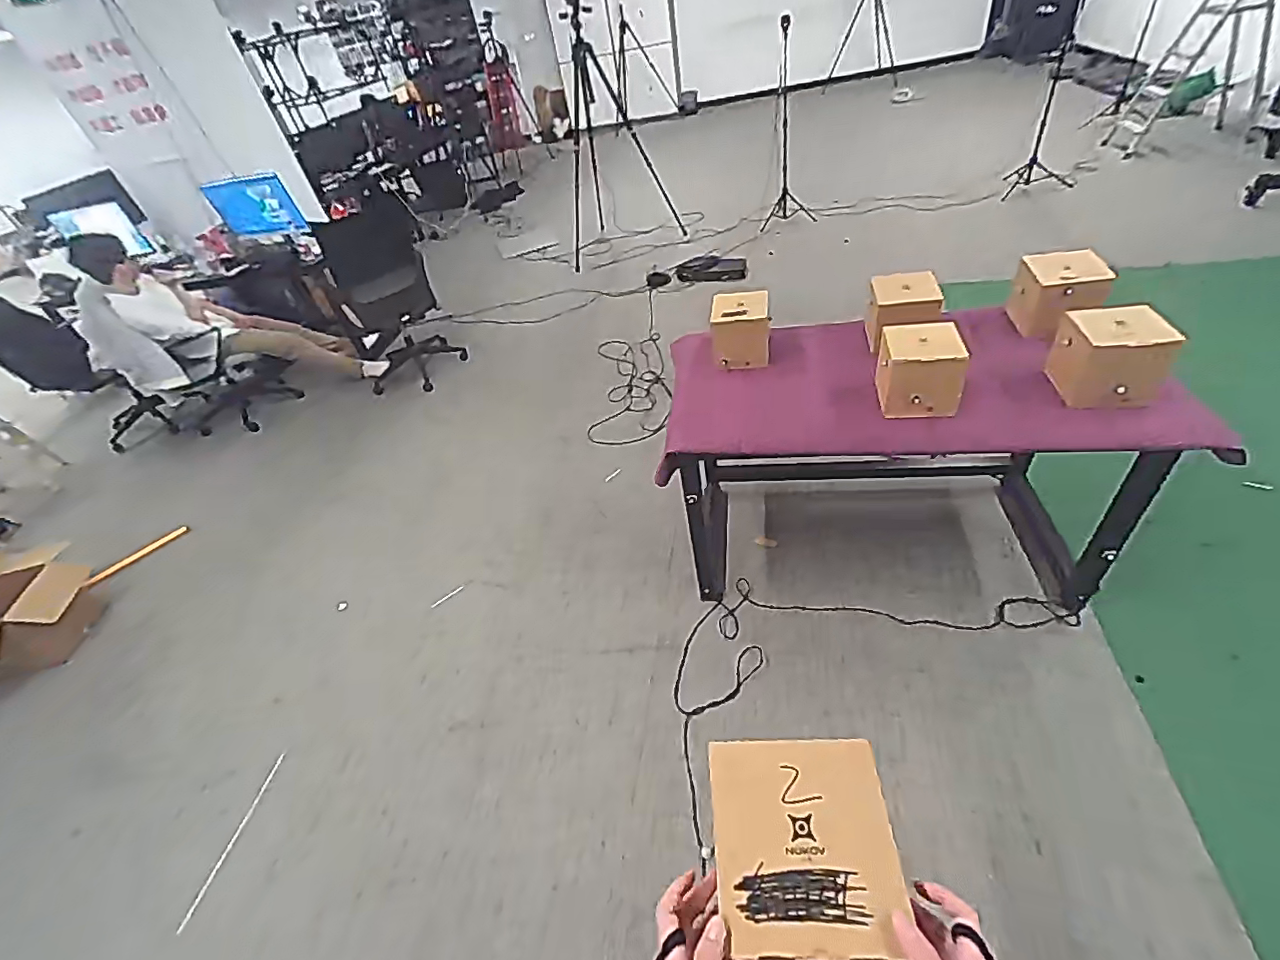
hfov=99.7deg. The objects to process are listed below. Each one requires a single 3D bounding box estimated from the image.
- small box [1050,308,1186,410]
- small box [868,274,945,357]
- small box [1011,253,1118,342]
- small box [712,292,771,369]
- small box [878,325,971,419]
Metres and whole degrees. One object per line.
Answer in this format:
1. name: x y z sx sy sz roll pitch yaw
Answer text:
1. small box: 1.098 -0.280 1.263 0.168 0.176 0.179 0 42 16
2. small box: 0.765 -0.477 1.573 0.168 0.176 0.179 0 45 15
3. small box: 1.154 -0.501 1.490 0.168 0.176 0.179 -2 44 16
4. small box: 0.317 -0.454 1.661 0.168 0.176 0.179 0 44 14
5. small box: 0.706 -0.271 1.363 0.168 0.176 0.179 0 43 15
